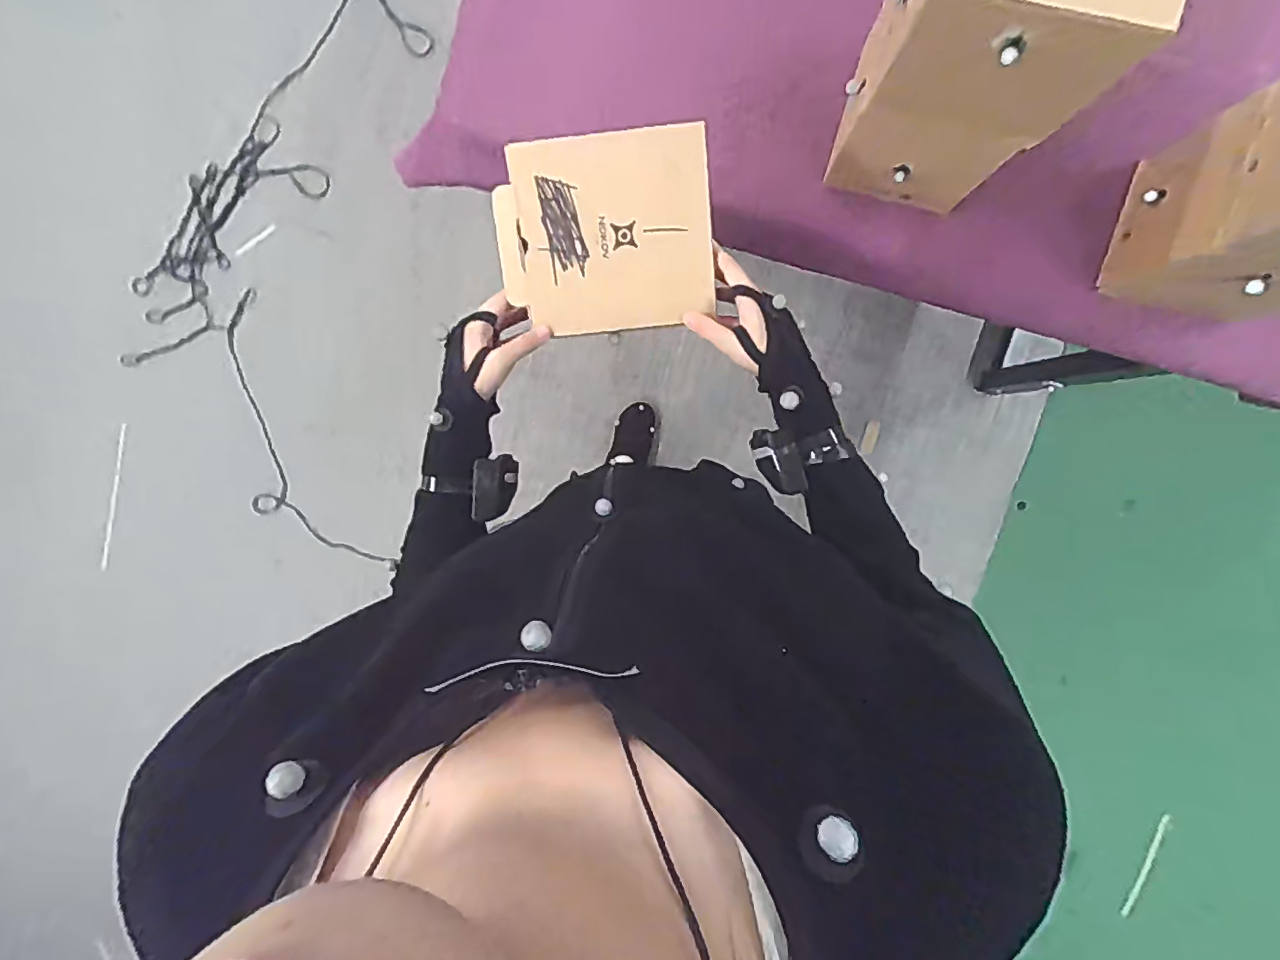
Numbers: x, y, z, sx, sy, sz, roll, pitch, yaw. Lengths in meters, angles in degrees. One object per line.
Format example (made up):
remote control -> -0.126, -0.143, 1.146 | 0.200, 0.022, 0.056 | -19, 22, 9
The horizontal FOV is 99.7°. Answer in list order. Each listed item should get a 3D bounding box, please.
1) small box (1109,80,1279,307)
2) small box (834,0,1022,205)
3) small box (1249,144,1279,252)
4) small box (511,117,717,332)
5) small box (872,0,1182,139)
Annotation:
small box -> 0.688, -0.300, 0.594 | 0.179, 0.176, 0.168 | 15, 98, 7
small box -> 0.339, -0.448, 0.620 | 0.168, 0.176, 0.179 | 16, 96, 5
small box -> 0.671, -0.286, 0.431 | 0.168, 0.176, 0.179 | 16, 97, 7
small box -> -0.018, -0.247, 0.565 | 0.179, 0.176, 0.168 | -5, 105, 3
small box -> 0.324, -0.427, 0.459 | 0.179, 0.176, 0.168 | 16, 97, 5
